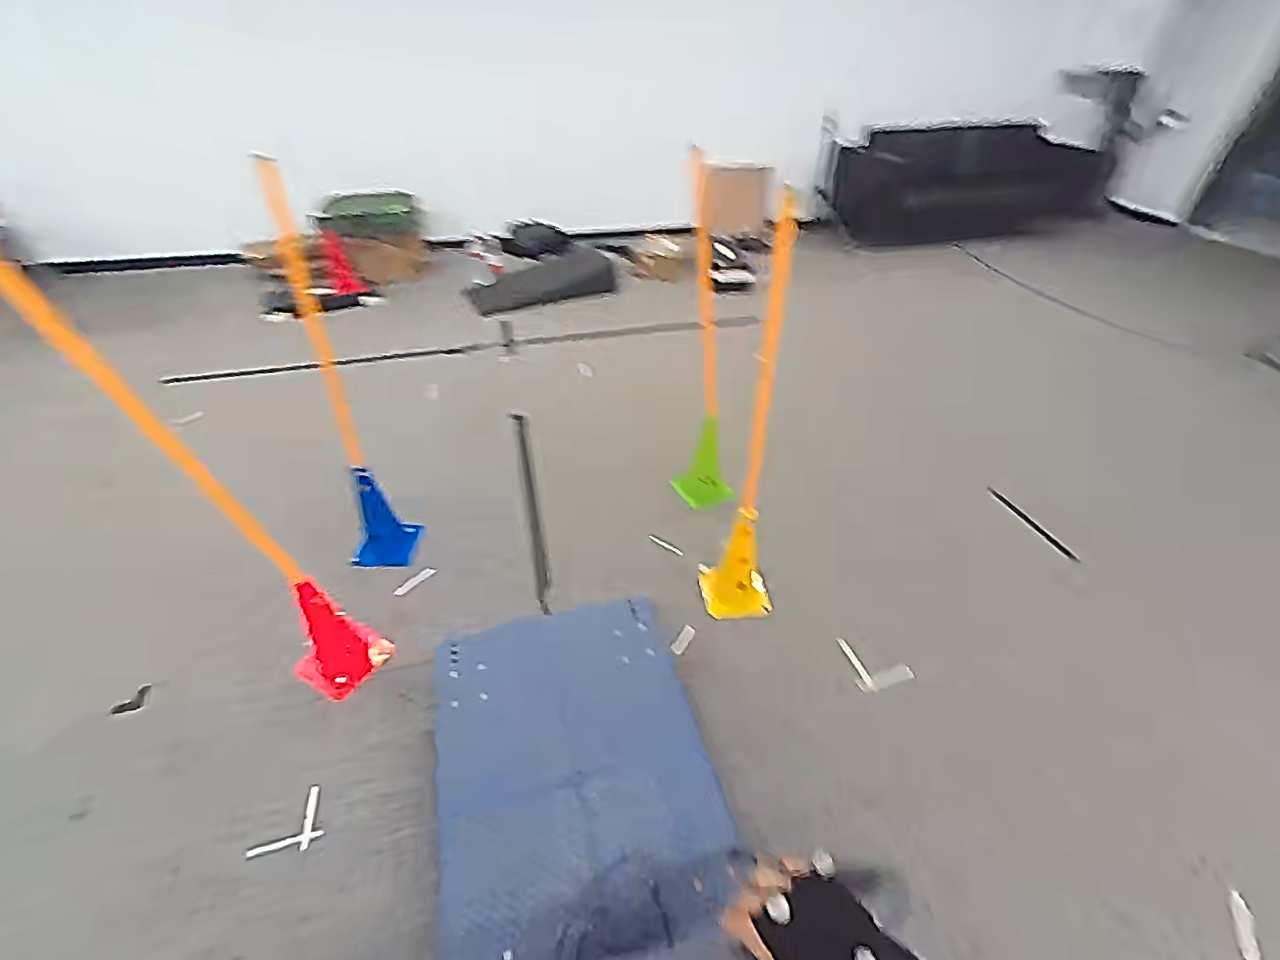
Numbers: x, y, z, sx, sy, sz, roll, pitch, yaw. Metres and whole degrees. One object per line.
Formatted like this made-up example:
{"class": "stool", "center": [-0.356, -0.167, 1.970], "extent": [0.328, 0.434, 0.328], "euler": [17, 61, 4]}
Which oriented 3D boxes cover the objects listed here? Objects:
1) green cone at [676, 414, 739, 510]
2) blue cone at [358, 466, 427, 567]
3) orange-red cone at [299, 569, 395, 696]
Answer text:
{"class": "green cone", "center": [0.275, -0.094, 2.061], "extent": [0.200, 0.368, 0.202], "euler": [-17, 44, -22]}
{"class": "blue cone", "center": [-0.861, 0.105, 1.802], "extent": [0.193, 0.380, 0.192], "euler": [2, 40, 0]}
{"class": "orange-red cone", "center": [-0.832, 0.372, 1.449], "extent": [0.198, 0.360, 0.199], "euler": [22, 42, 23]}
